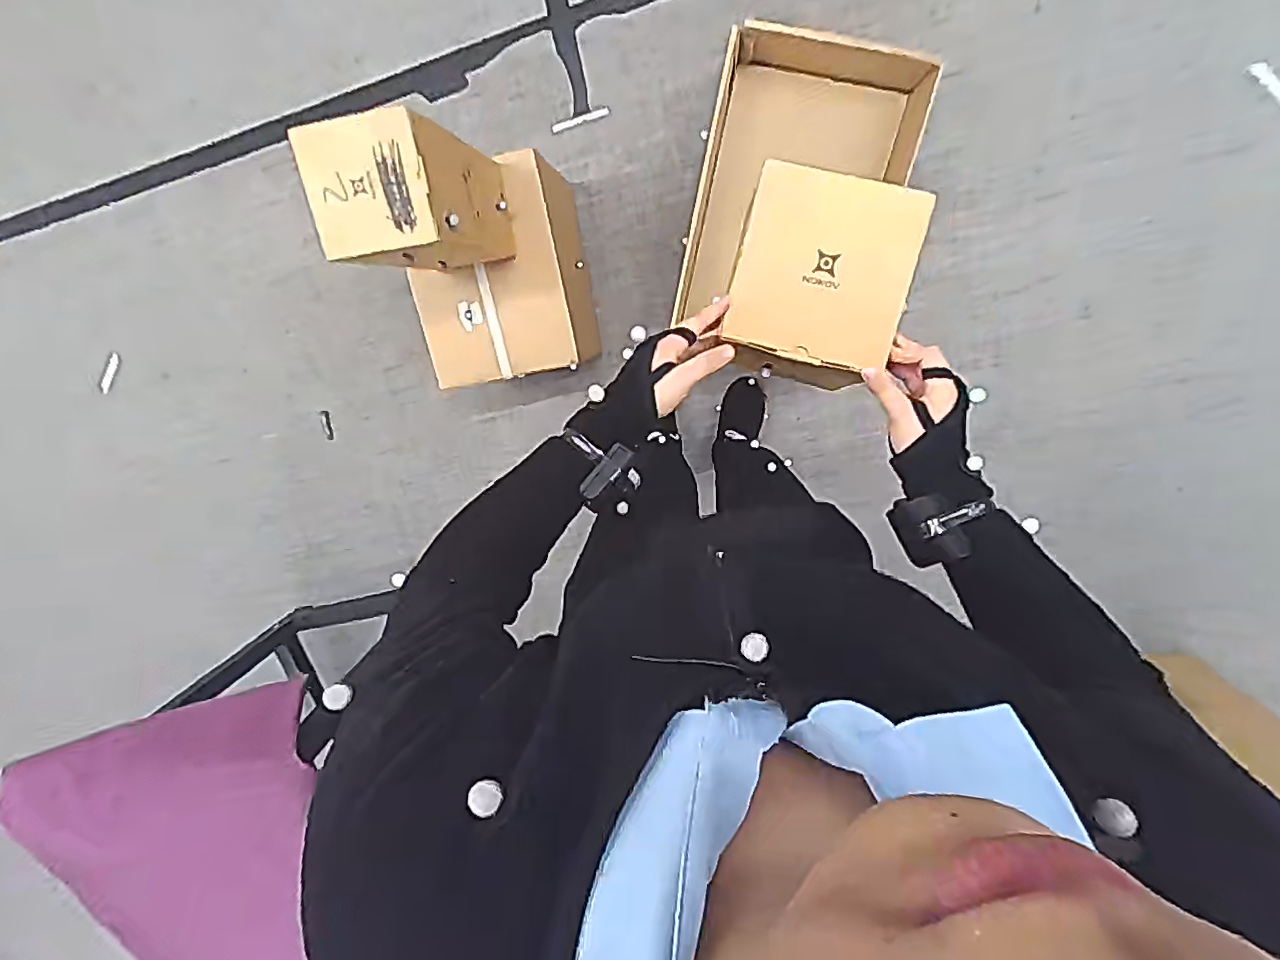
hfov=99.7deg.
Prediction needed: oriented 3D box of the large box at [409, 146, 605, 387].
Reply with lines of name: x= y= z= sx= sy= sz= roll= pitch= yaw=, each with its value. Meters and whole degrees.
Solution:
large box: x=-0.288 y=-0.455 z=1.214 sx=0.320 sy=0.320 sz=0.408 roll=-9 pitch=108 yaw=10

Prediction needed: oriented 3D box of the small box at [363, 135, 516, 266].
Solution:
small box: x=-0.341 y=-0.479 z=0.951 sx=0.179 sy=0.176 sz=0.168 roll=-6 pitch=109 yaw=8
